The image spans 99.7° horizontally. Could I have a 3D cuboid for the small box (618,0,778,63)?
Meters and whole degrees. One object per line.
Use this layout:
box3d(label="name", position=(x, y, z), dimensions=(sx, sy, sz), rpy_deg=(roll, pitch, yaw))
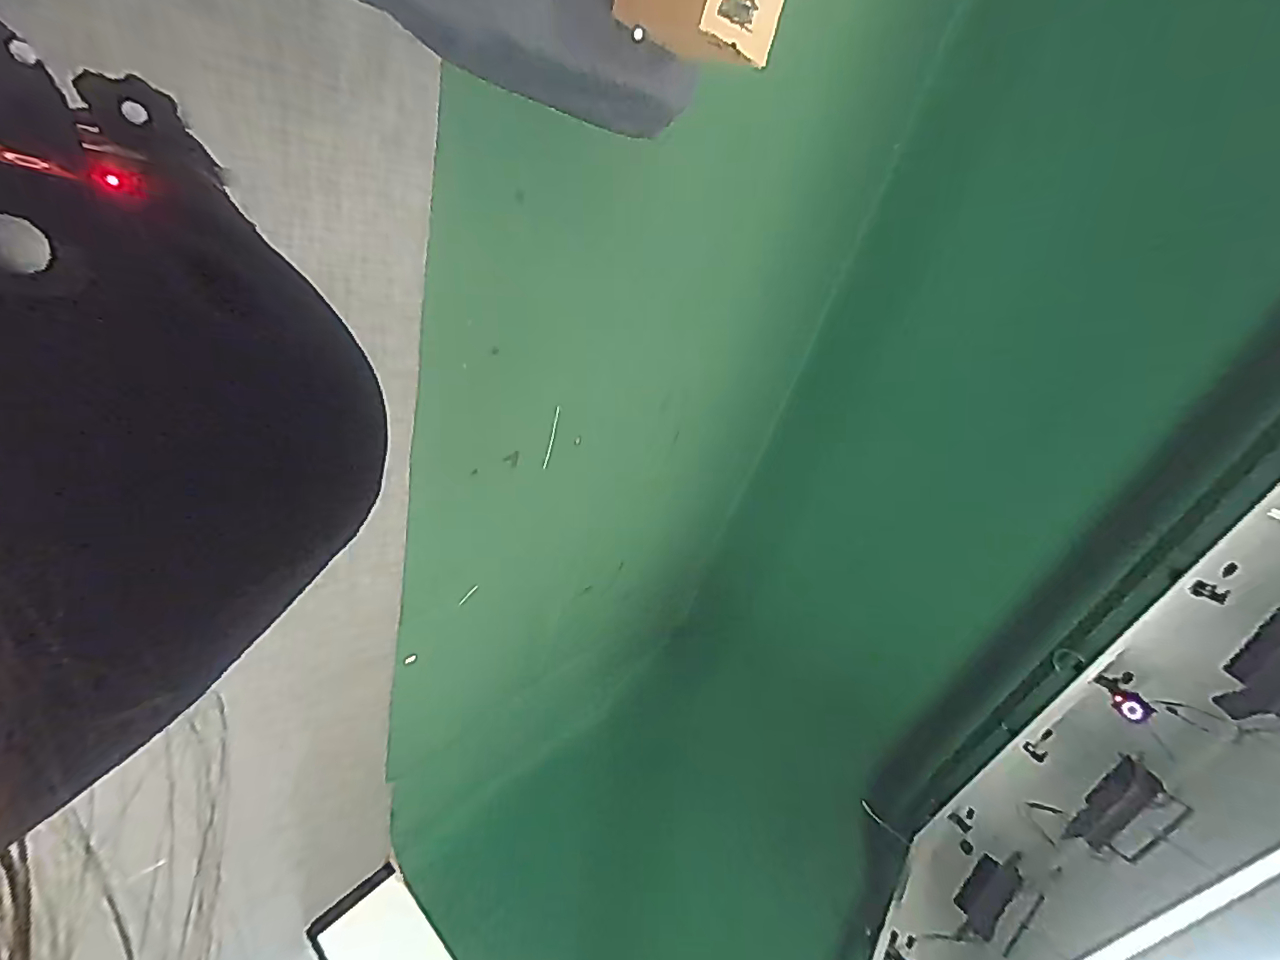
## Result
box3d(label="small box", position=(0.085, -0.710, 0.739), dimensions=(0.168, 0.176, 0.179), rpy_deg=(-19, 134, -47))
